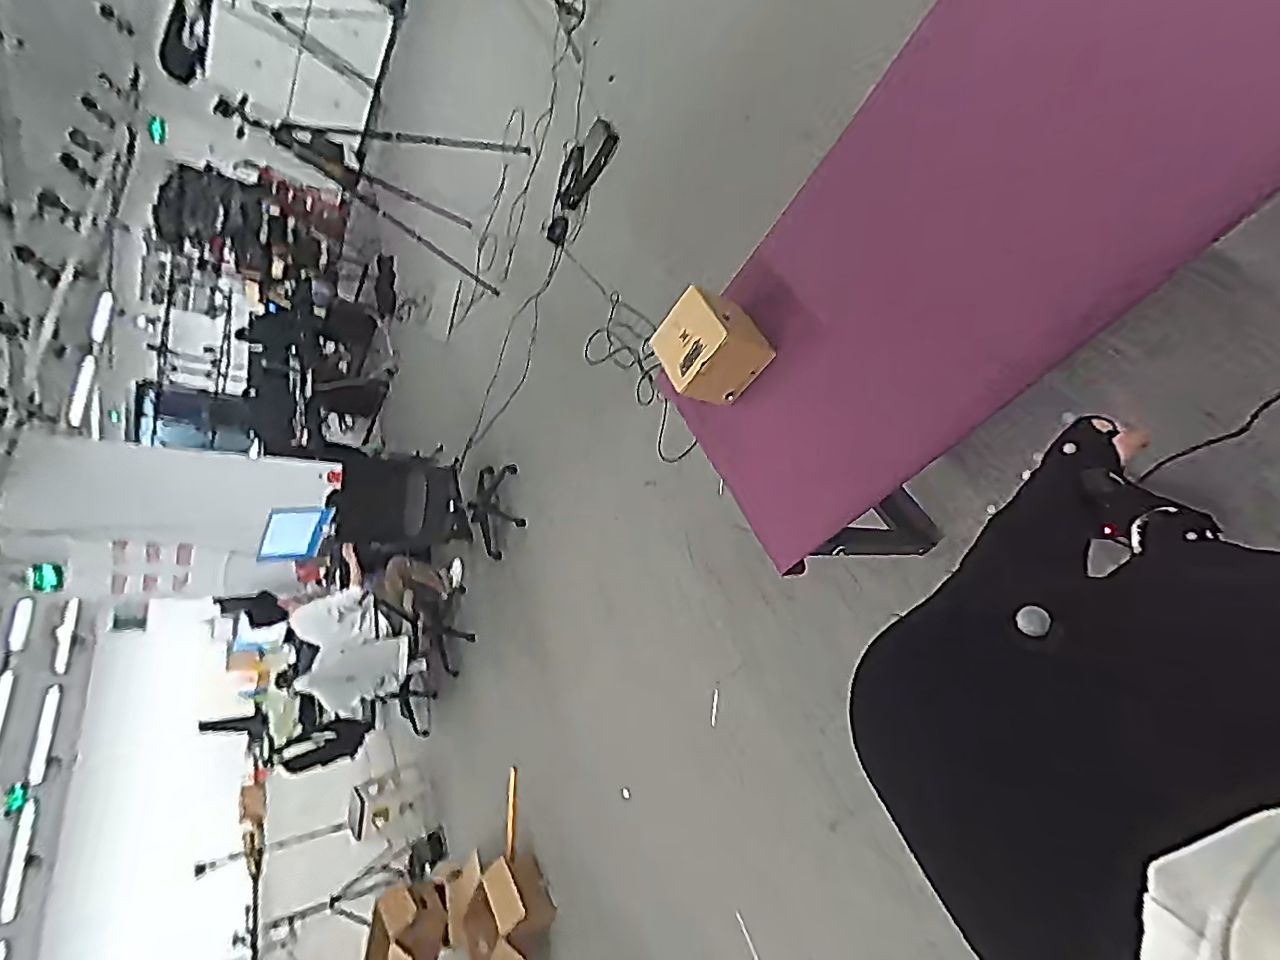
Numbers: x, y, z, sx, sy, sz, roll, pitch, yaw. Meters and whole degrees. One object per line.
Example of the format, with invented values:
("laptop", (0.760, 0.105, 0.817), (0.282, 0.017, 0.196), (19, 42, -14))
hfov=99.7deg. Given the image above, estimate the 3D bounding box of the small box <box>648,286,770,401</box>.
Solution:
("small box", (0.154, -0.293, 1.200), (0.168, 0.176, 0.179), (-49, 53, 33))
